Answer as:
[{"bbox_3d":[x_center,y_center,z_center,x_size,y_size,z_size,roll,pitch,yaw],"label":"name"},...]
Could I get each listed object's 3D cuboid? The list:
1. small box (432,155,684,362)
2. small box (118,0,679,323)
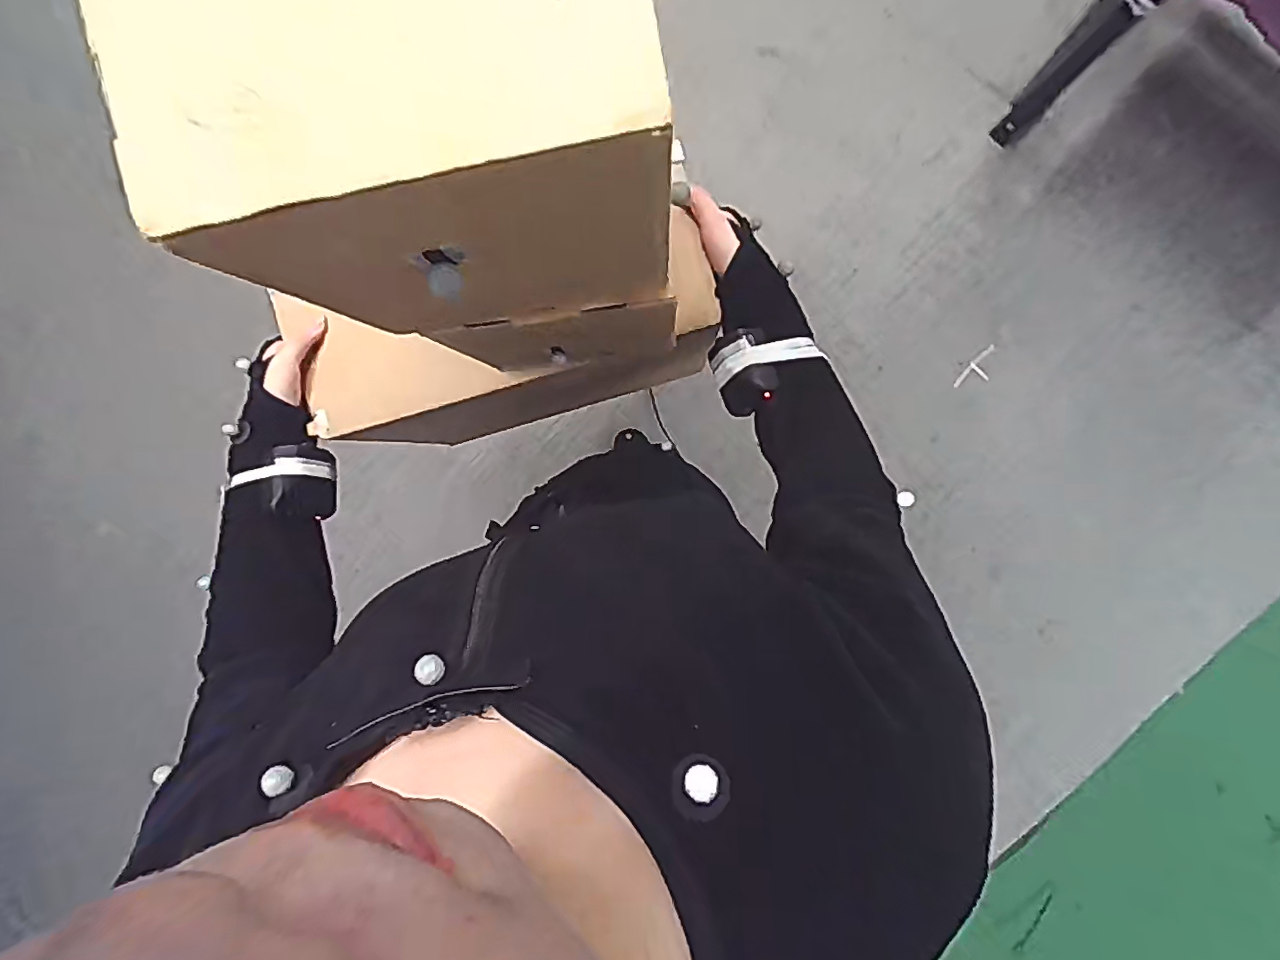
[{"bbox_3d":[-0.058,-0.194,0.409,0.168,0.176,0.179,-5,95,3],"label":"small box"},{"bbox_3d":[-0.079,-0.179,0.246,0.179,0.176,0.168,-9,96,4],"label":"small box"}]
